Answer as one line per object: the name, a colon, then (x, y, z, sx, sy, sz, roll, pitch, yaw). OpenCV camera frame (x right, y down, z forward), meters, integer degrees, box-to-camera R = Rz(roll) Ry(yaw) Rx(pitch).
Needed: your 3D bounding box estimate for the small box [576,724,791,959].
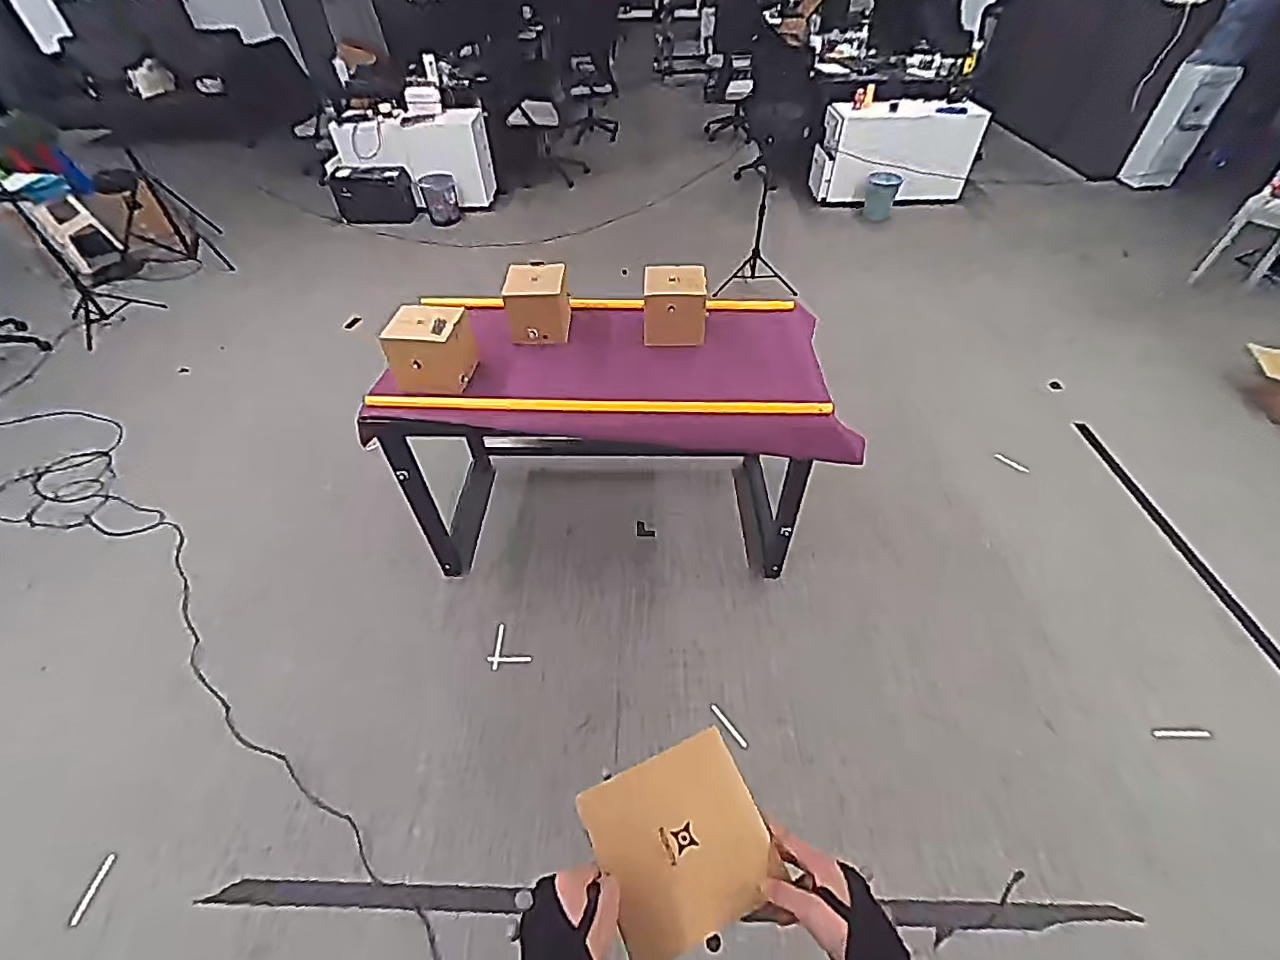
small box: (0.043, 0.408, 0.626, 0.179, 0.176, 0.168, -24, 61, -11)

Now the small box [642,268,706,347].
small box: (0.099, -0.505, 1.590, 0.179, 0.176, 0.168, 0, 48, 2)

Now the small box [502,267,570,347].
small box: (-0.302, -0.516, 1.612, 0.168, 0.176, 0.179, -2, 48, 1)

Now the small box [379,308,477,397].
small box: (-0.554, -0.339, 1.448, 0.179, 0.176, 0.168, 4, 47, 4)
